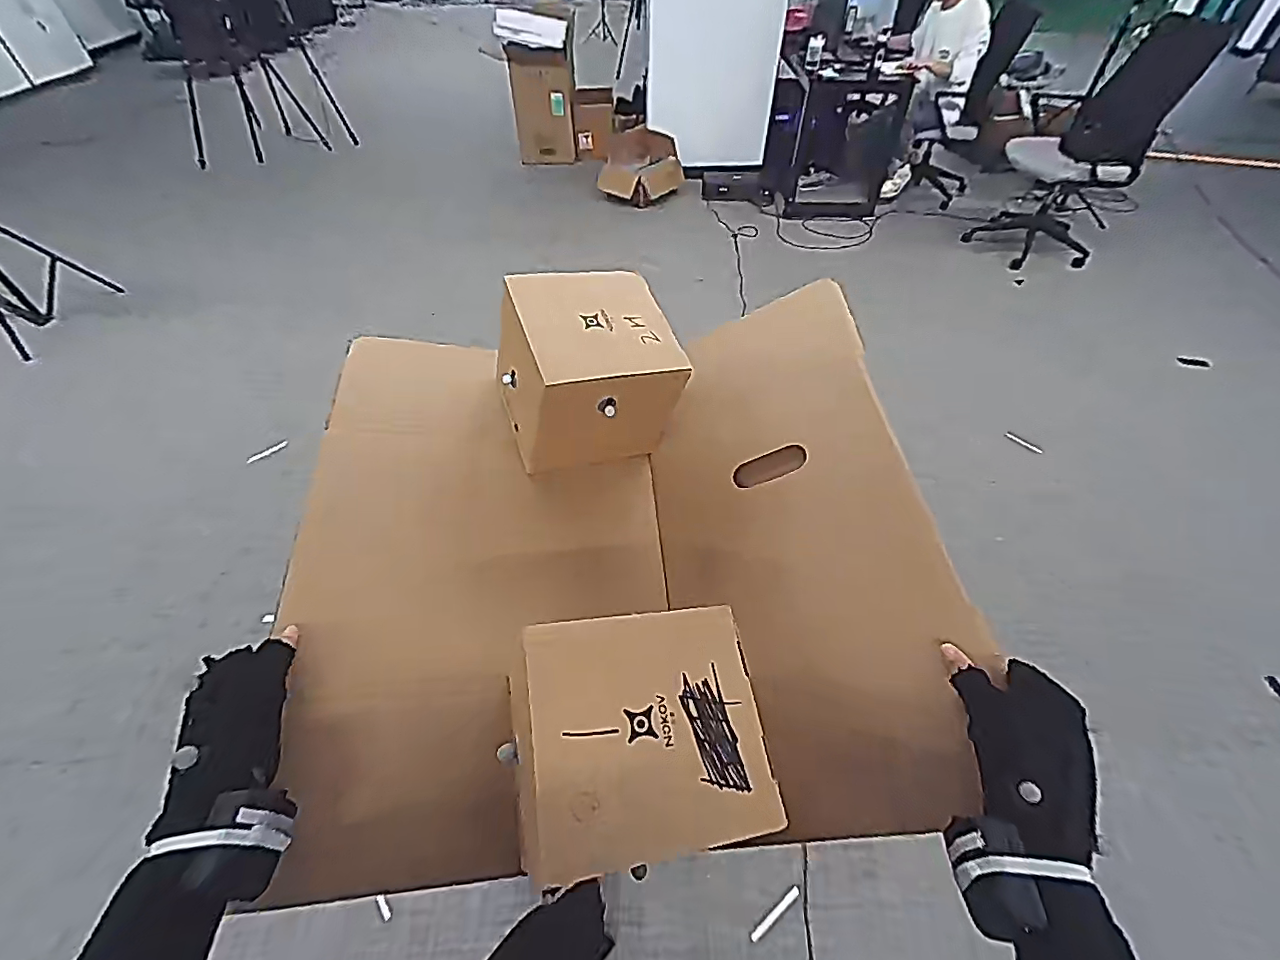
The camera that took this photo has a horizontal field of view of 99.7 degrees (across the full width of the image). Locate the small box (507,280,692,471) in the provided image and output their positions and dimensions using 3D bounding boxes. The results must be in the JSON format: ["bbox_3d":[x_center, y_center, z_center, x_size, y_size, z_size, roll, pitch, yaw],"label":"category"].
[{"bbox_3d":[-0.065,-0.127,0.677,0.179,0.176,0.168,-10,62,-24],"label":"small box"}]
